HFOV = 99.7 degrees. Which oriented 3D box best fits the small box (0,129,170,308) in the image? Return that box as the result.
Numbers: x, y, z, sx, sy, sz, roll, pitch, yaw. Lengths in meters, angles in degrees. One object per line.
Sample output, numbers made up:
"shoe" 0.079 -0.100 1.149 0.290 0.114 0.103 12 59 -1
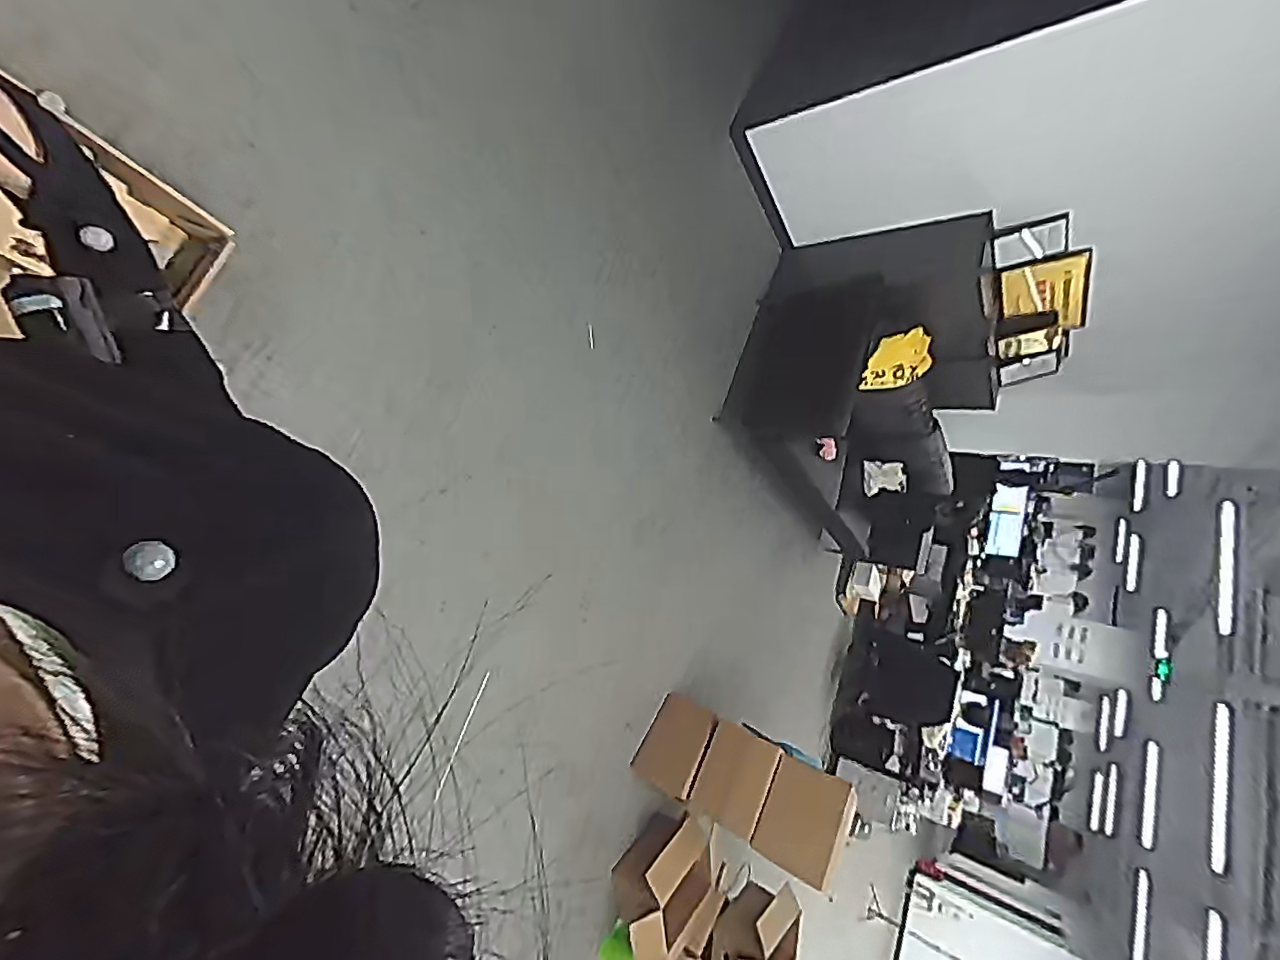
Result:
"small box" -0.895 -0.393 0.843 0.168 0.176 0.179 37 68 -47
